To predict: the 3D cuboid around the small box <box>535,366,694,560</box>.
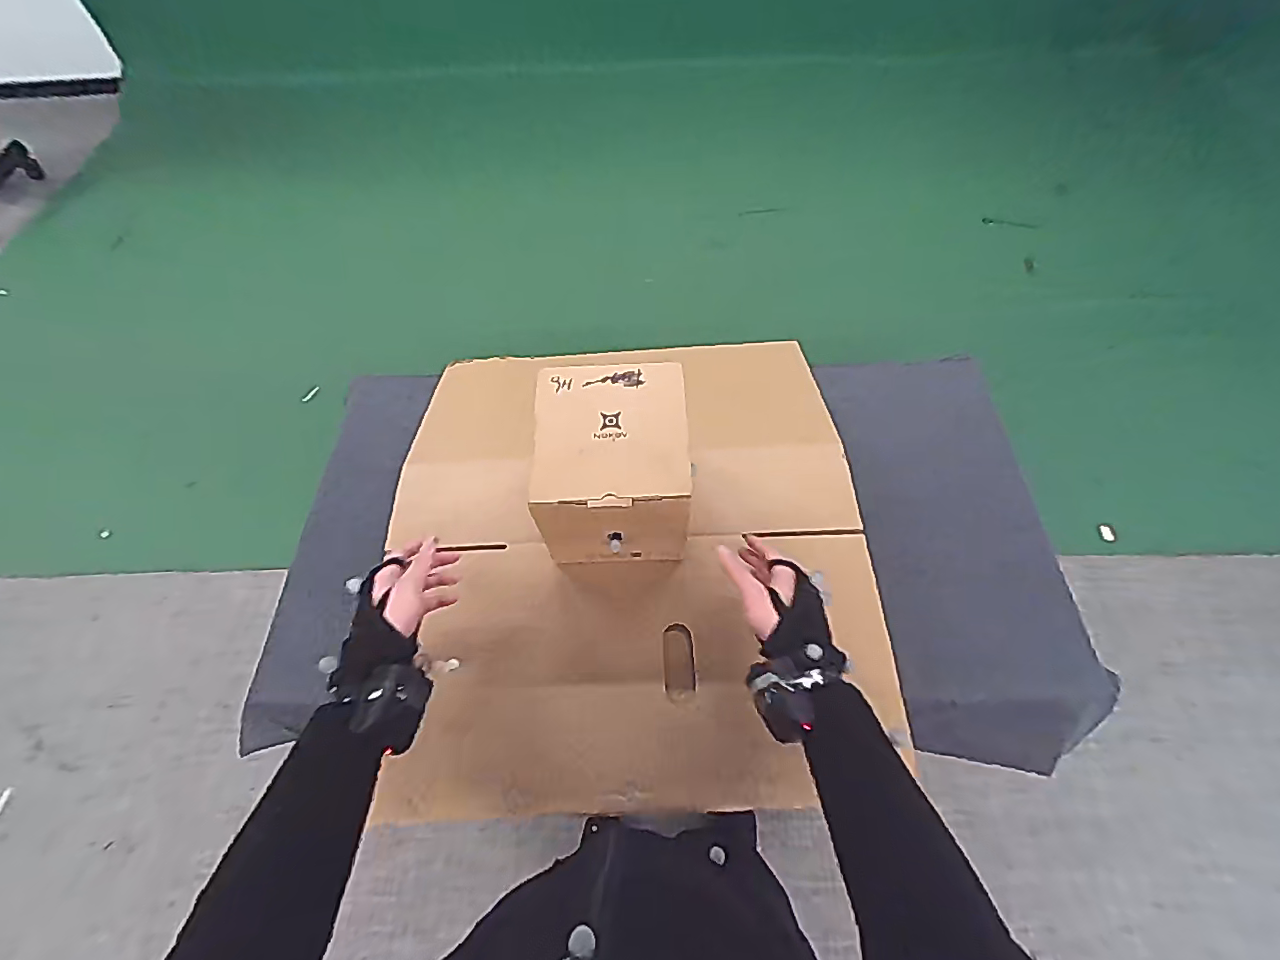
[{"bbox_3d":[-0.025,-0.011,0.650,0.168,0.176,0.179,-4,60,0],"label":"small box"}]
